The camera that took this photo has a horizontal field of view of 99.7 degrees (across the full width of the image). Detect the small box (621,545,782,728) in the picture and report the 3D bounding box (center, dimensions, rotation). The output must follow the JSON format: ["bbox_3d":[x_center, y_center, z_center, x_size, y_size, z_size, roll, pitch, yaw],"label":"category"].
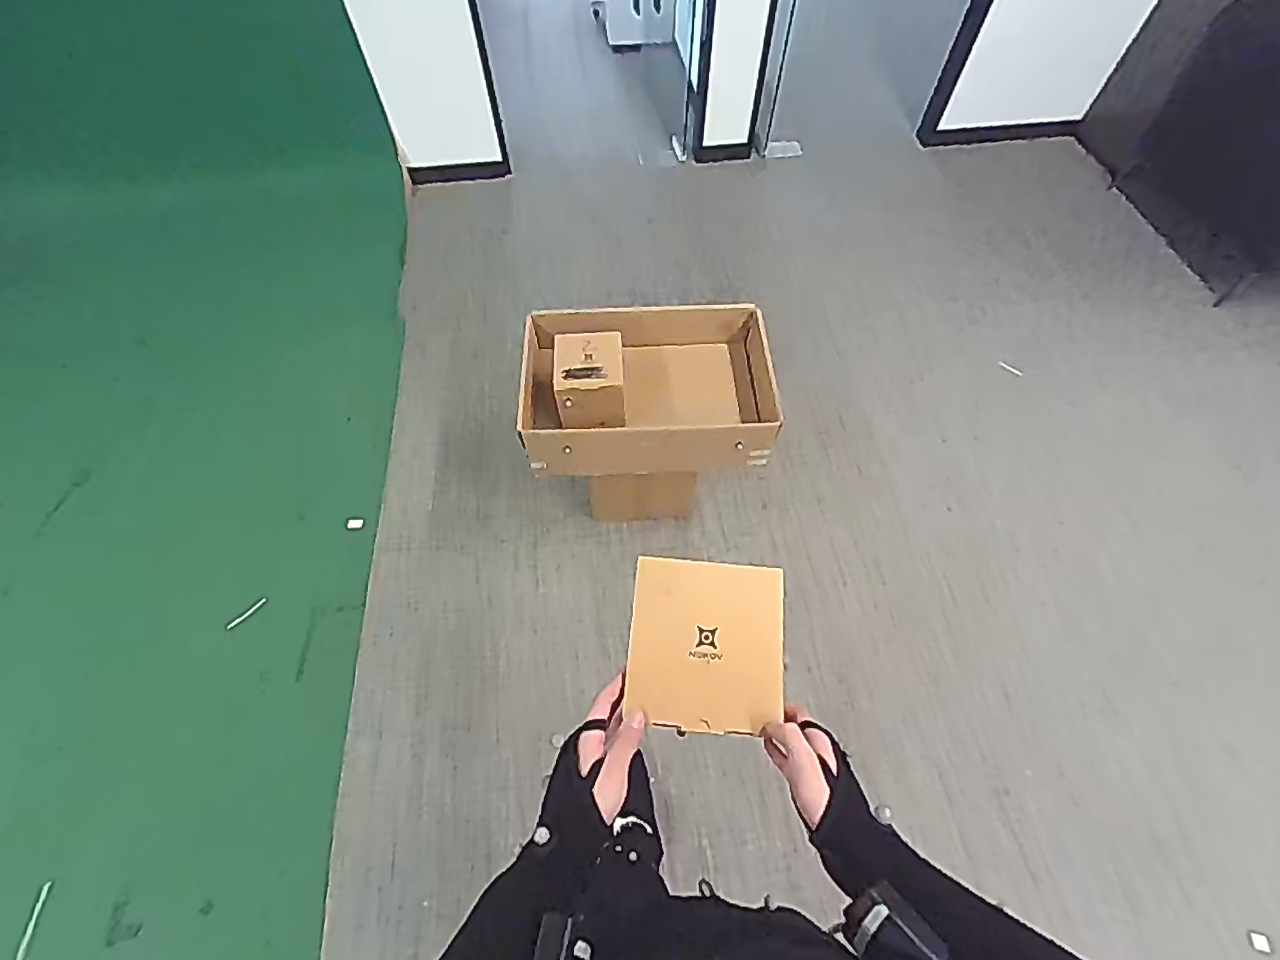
[{"bbox_3d":[0.067,0.190,0.649,0.168,0.176,0.179,5,70,2],"label":"small box"}]
